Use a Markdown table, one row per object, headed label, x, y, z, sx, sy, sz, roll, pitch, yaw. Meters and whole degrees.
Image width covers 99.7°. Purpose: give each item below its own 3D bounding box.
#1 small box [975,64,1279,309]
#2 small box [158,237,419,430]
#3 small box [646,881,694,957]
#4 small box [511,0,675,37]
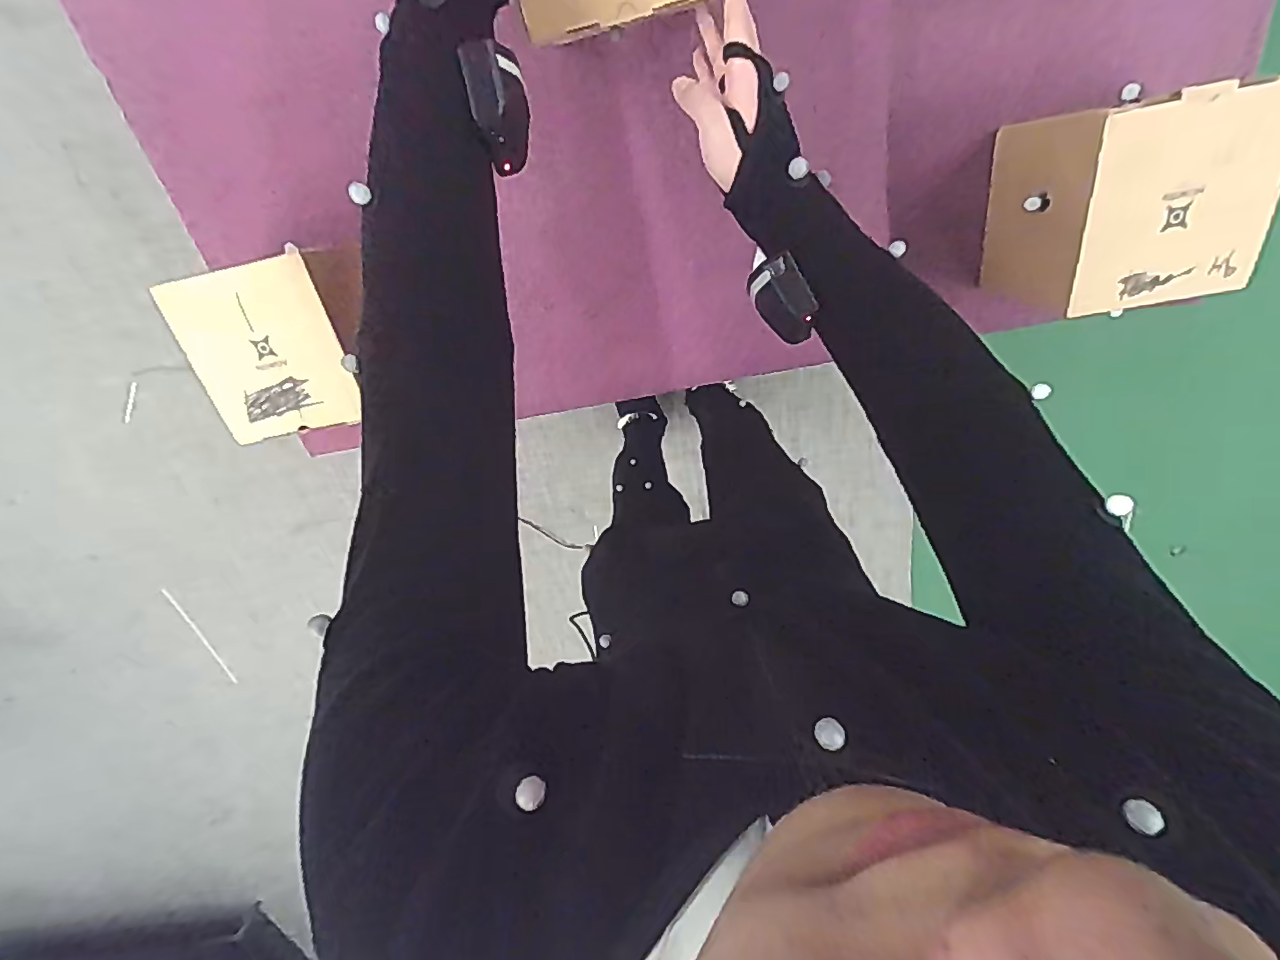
| label | x | y | z | sx | sy | sz | roll | pitch | yaw |
| --- | --- | --- | --- | --- | --- | --- | --- | --- | --- |
| small box | 0.477 | -0.292 | 0.558 | 0.168 | 0.176 | 0.179 | -8 | 119 | 8 |
| small box | -0.397 | -0.181 | 0.652 | 0.168 | 0.176 | 0.179 | -9 | 116 | 7 |
| small box | 0.107 | 1.614 | 1.993 | 0.168 | 0.176 | 0.179 | 2 | 119 | 2 |
| small box | -0.038 | -0.498 | 0.447 | 0.168 | 0.176 | 0.179 | -9 | 132 | 8 |
